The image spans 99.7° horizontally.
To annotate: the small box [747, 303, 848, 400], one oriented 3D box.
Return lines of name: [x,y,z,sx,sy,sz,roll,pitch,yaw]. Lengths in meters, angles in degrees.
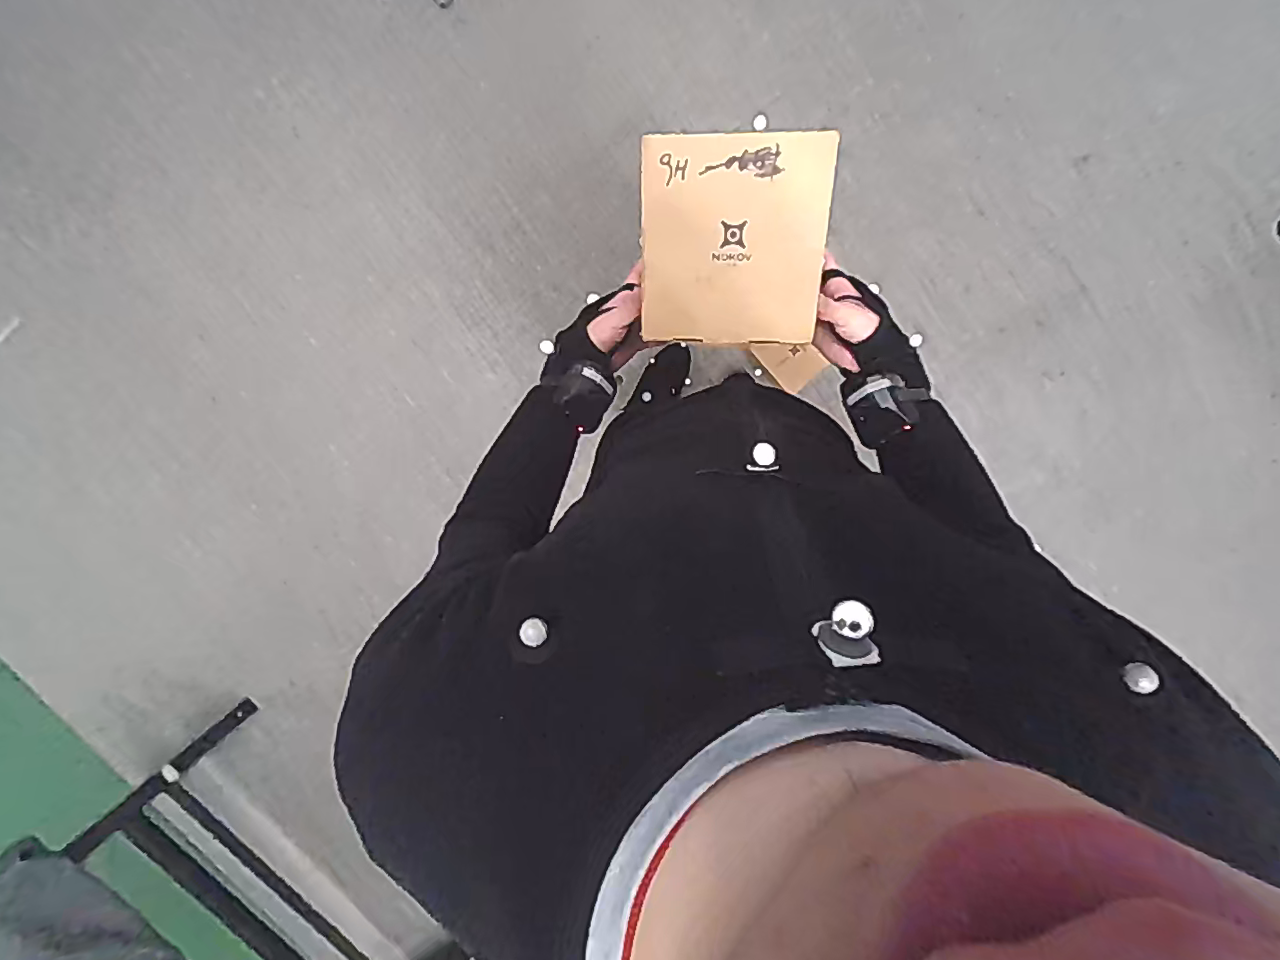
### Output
small box: [0.397,-0.330,1.398,0.179,0.176,0.168,-41,97,12]
